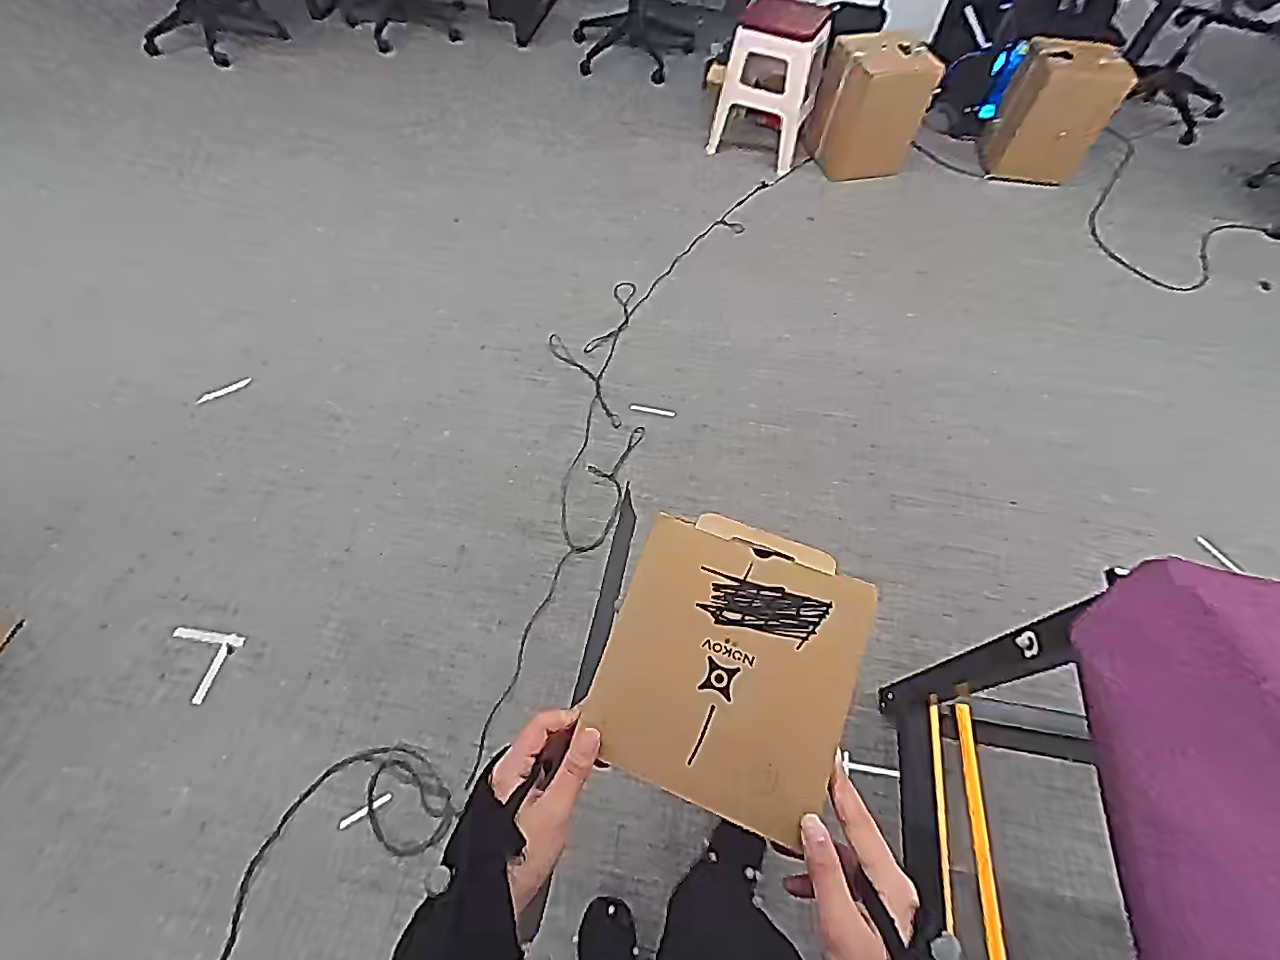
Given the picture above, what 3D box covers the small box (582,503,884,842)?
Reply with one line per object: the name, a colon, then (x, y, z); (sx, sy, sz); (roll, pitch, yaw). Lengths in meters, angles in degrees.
small box: (0.073, 0.143, 0.442); (0.168, 0.176, 0.179); (18, 75, 13)
